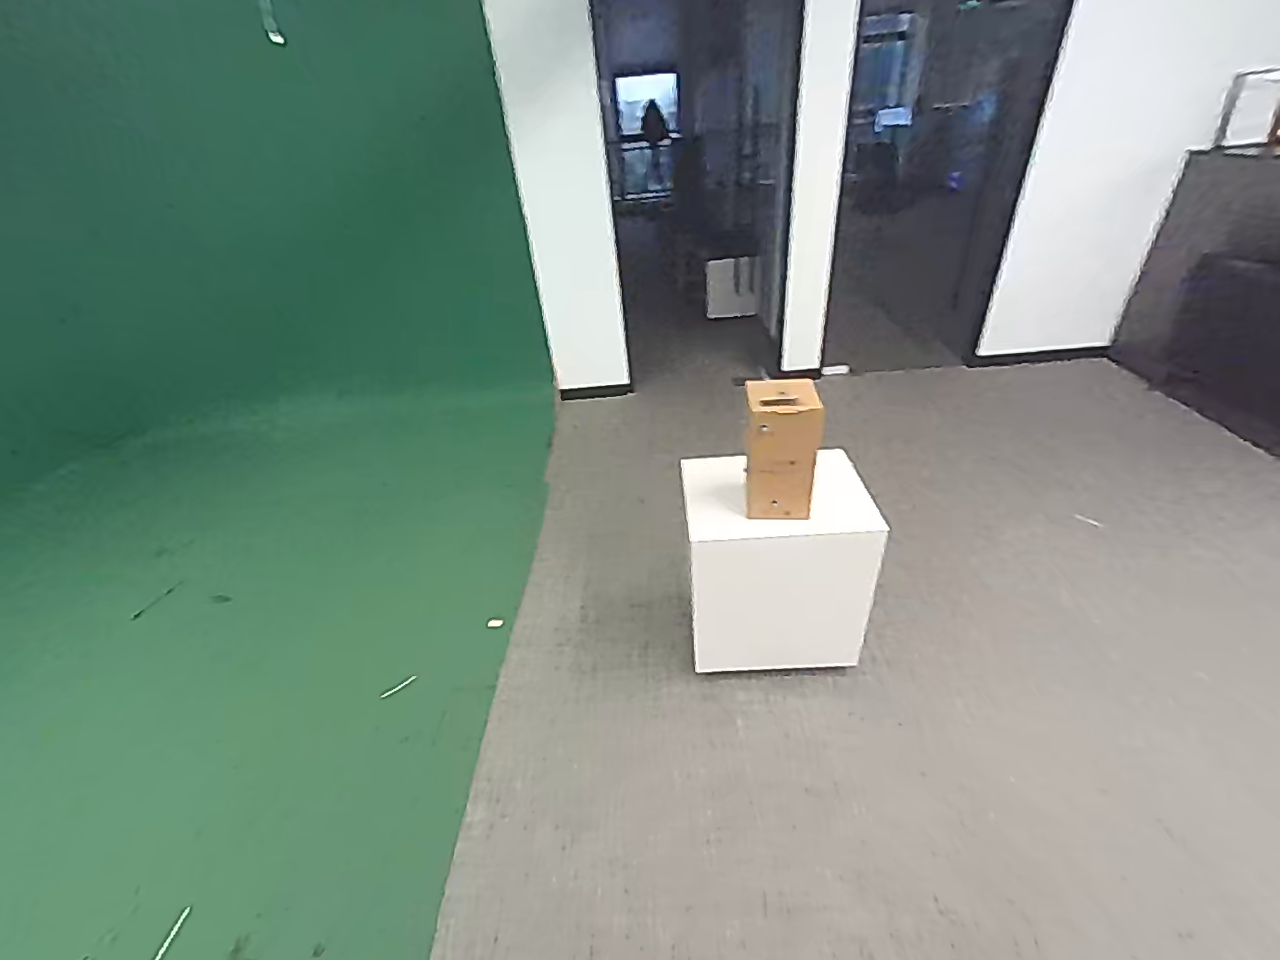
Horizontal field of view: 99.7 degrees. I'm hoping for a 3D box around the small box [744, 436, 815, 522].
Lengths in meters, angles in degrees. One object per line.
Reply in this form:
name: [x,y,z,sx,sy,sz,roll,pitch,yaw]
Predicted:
small box: [0.371,-0.004,1.469,0.168,0.176,0.179,-1,34,8]
